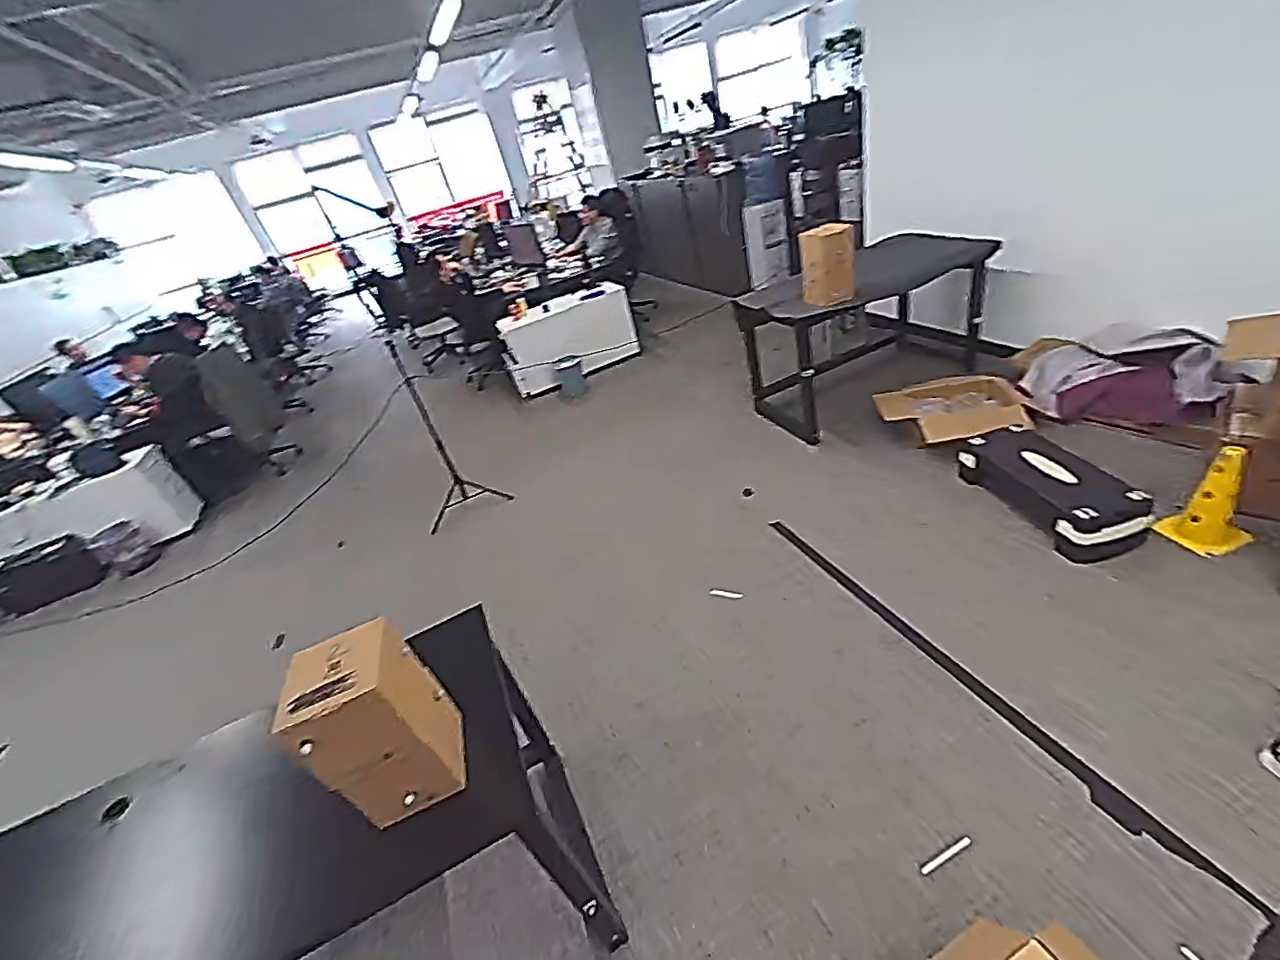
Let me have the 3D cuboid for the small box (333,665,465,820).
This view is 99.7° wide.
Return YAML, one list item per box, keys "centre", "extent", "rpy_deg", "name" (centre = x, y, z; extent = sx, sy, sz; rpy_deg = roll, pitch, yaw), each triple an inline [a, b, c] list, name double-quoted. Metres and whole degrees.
- centre: [-0.449, 0.500, 1.035]
  extent: [0.168, 0.176, 0.179]
  rpy_deg: [-23, 33, -8]
  name: "small box"
